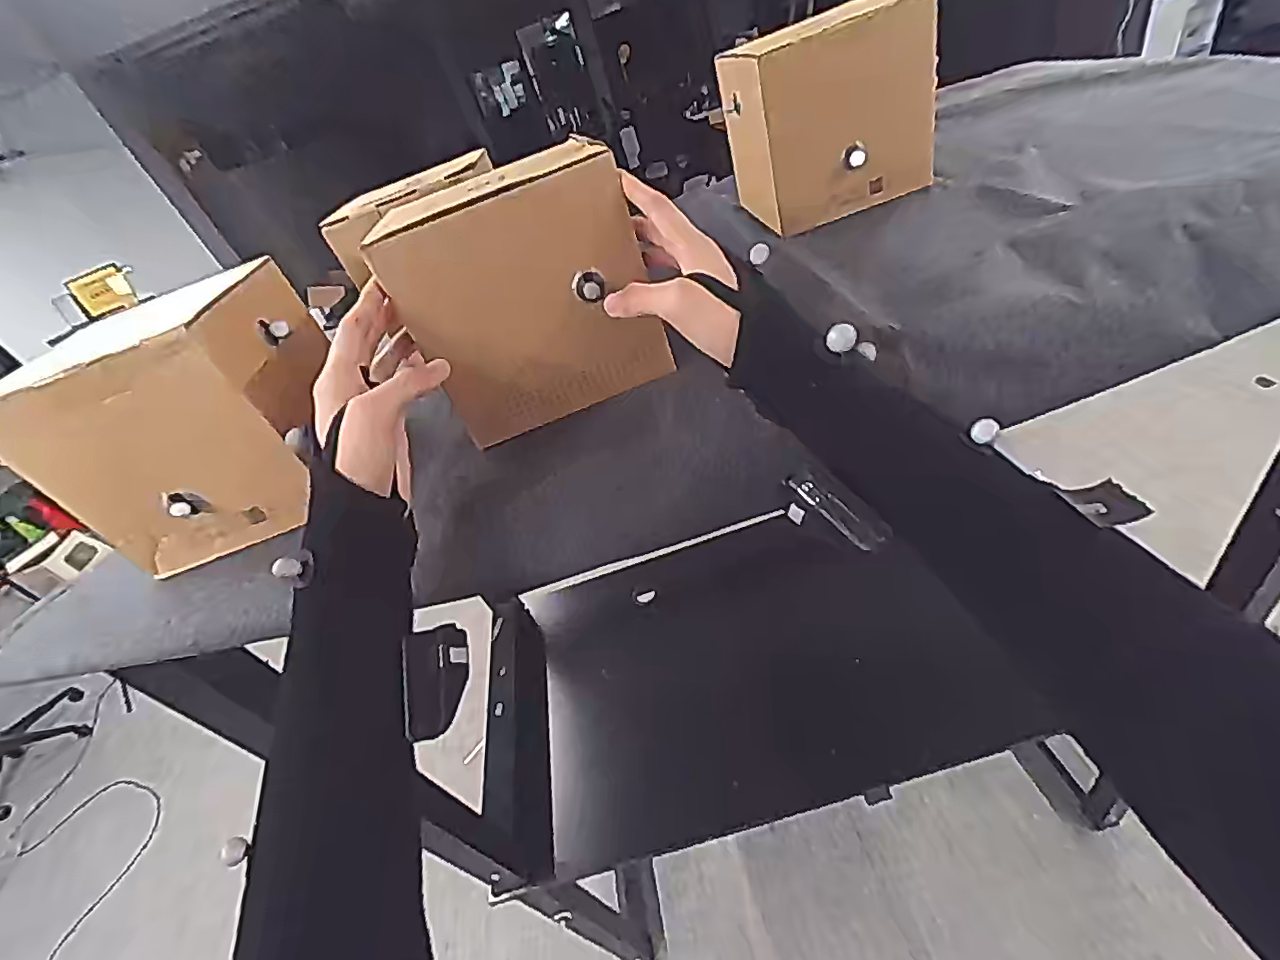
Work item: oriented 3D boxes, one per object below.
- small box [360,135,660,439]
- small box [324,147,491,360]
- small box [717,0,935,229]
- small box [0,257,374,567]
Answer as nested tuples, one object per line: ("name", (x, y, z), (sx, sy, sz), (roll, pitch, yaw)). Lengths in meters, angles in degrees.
("small box", (-0.093, -0.163, 0.454), (0.179, 0.176, 0.168), (-22, 36, -1))
("small box", (-0.223, -0.262, 0.638), (0.168, 0.176, 0.179), (-19, 37, 3))
("small box", (0.197, -0.400, 0.598), (0.168, 0.176, 0.179), (-18, 38, 6))
("small box", (-0.354, -0.060, 0.457), (0.168, 0.176, 0.179), (-21, 38, 0))
